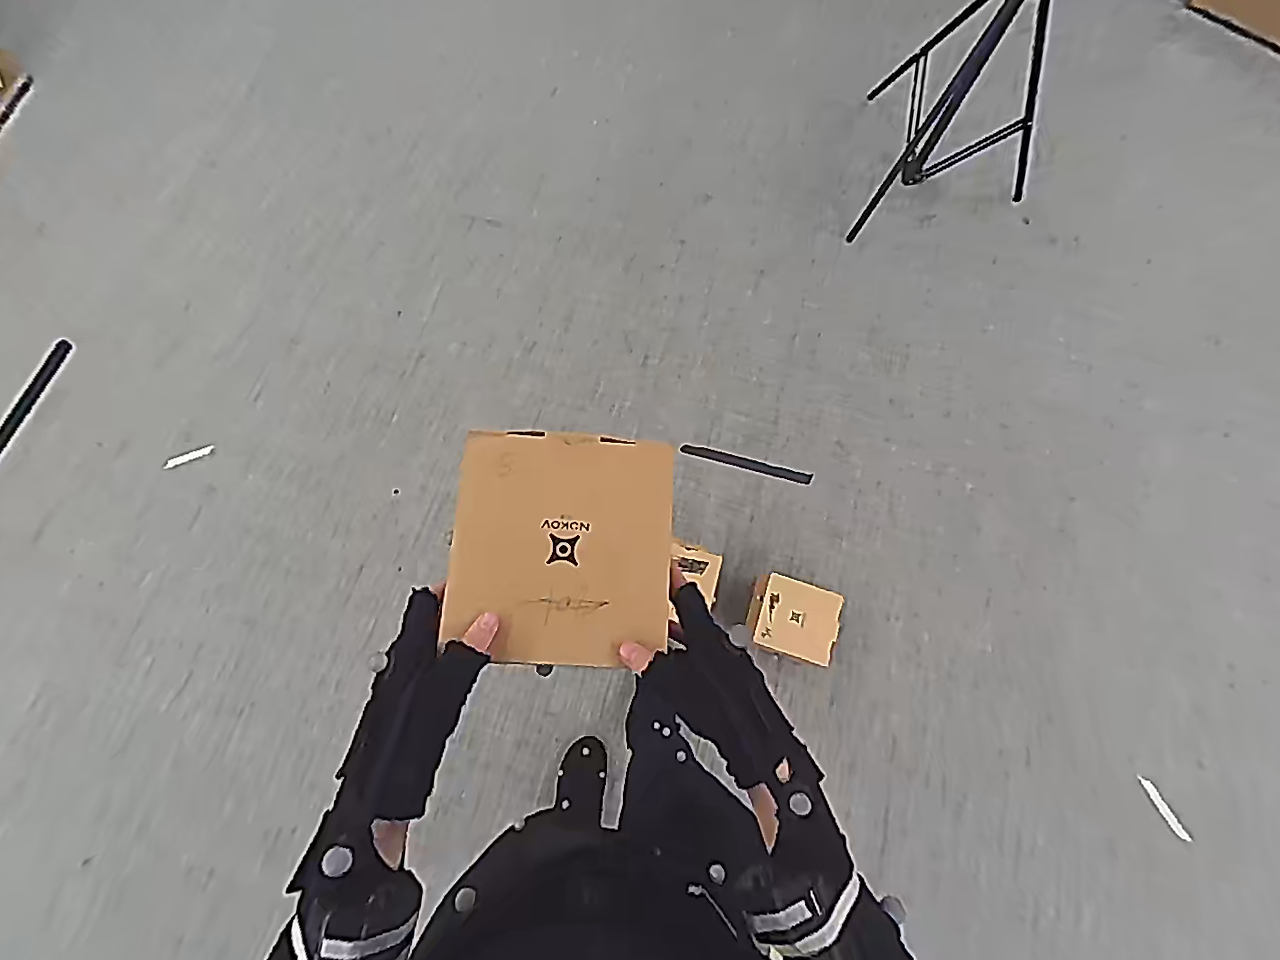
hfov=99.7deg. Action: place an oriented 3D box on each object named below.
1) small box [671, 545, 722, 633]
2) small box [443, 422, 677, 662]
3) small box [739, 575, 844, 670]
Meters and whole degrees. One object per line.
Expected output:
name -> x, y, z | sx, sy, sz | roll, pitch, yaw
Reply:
small box -> 0.090, 0.263, 1.311 | 0.168, 0.176, 0.179 | 15, 75, 5
small box -> -0.064, 0.064, 0.486 | 0.168, 0.176, 0.179 | 4, 75, -5
small box -> 0.355, 0.339, 1.291 | 0.179, 0.176, 0.168 | 19, 75, 4
